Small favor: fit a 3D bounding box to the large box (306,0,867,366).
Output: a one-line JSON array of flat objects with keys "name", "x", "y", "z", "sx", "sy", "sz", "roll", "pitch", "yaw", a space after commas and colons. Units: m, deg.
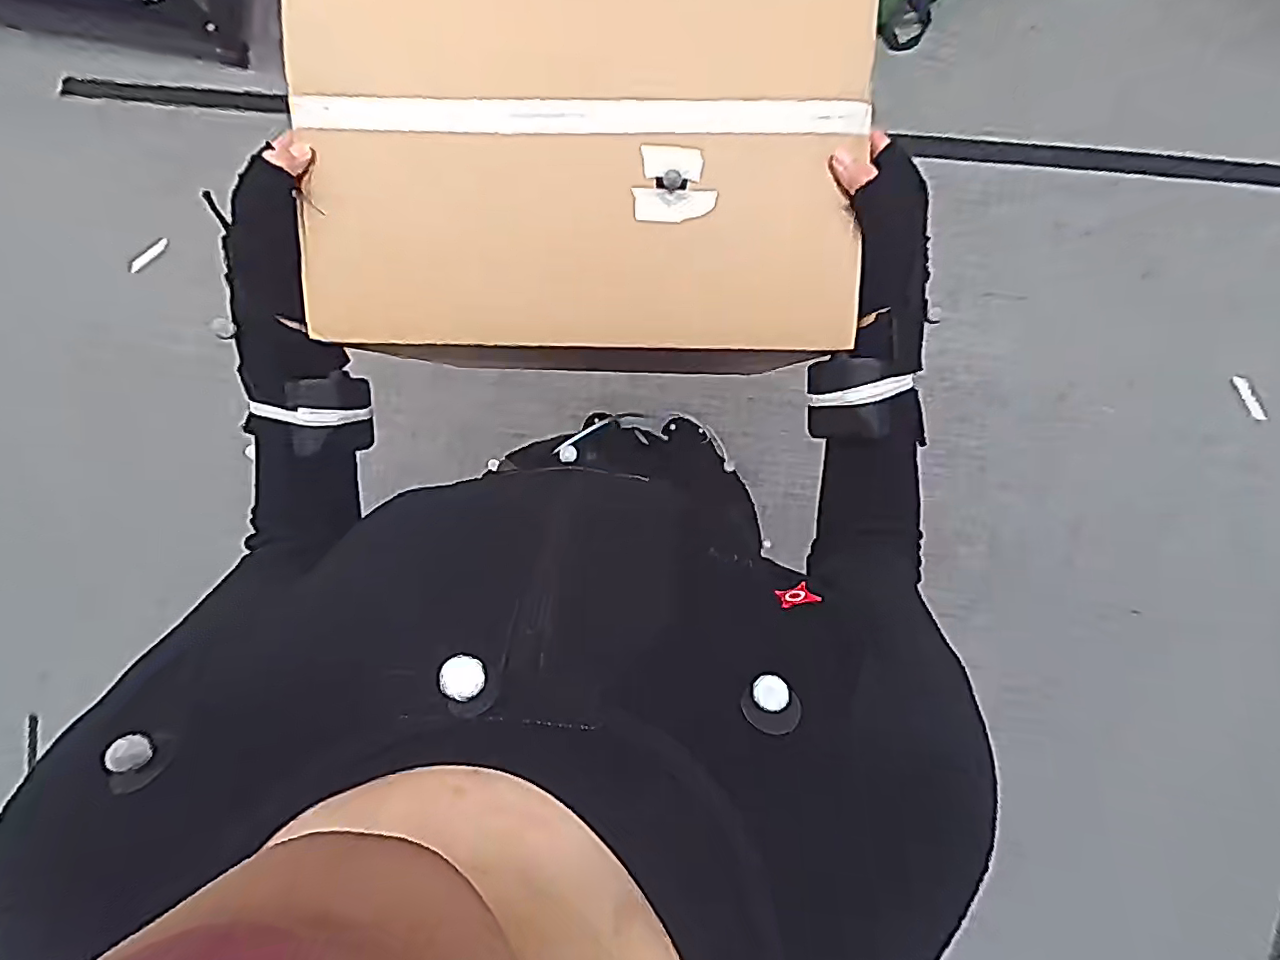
[{"name": "large box", "x": -0.041, "y": -0.282, "z": 0.539, "sx": 0.408, "sy": 0.320, "sz": 0.320, "roll": 1, "pitch": 99, "yaw": -1}]
